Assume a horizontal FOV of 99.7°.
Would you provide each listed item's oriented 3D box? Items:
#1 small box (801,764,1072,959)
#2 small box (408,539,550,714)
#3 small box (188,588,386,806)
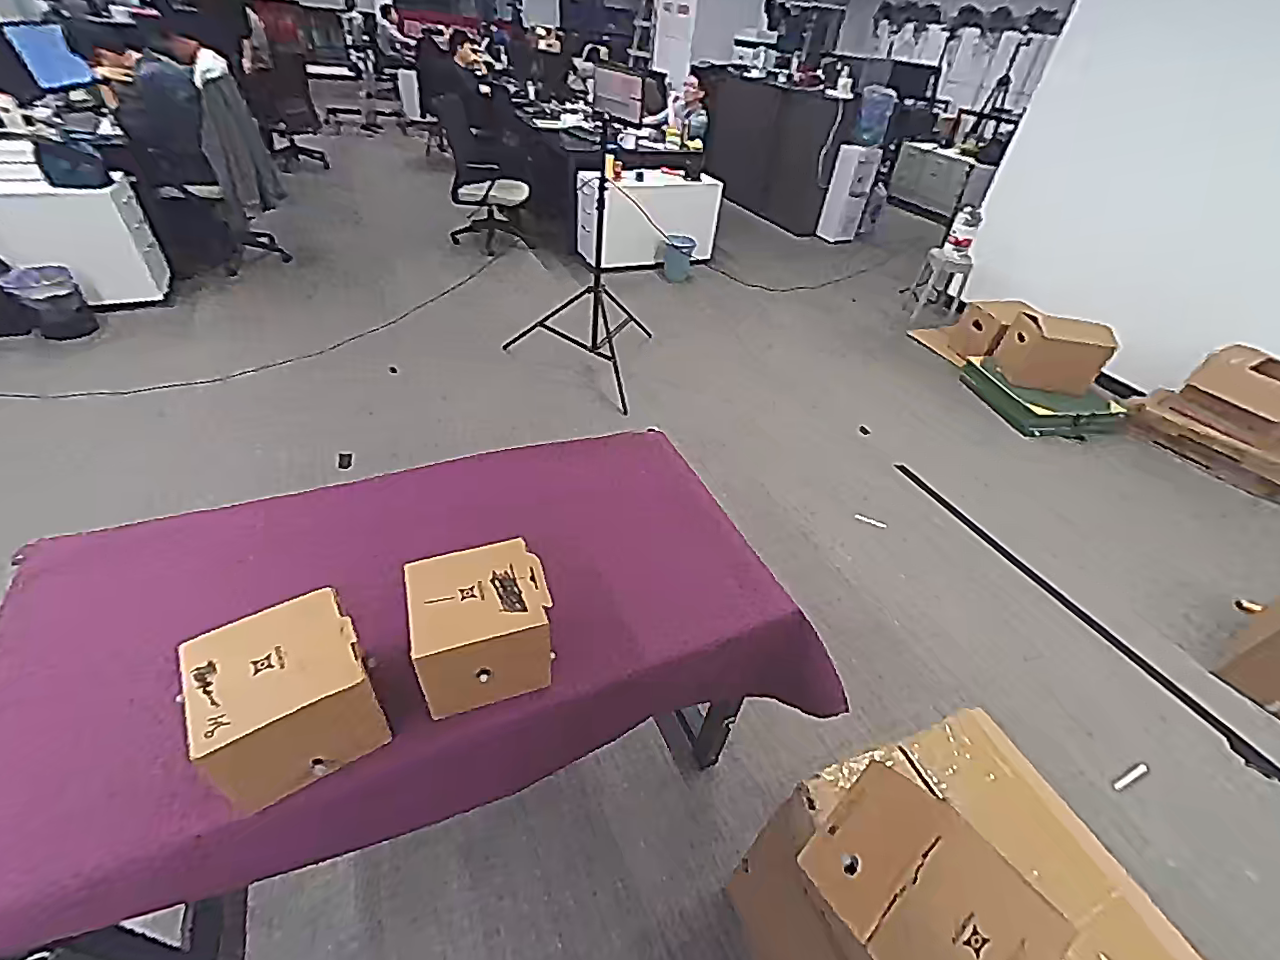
[{"bbox_3d":[0.320,0.462,0.621,0.179,0.176,0.168,43,79,0],"label":"small box"},{"bbox_3d":[-0.238,0.219,0.813,0.179,0.176,0.168,-11,43,-18],"label":"small box"},{"bbox_3d":[-0.451,0.281,0.712,0.179,0.176,0.168,-21,47,-30],"label":"small box"}]
